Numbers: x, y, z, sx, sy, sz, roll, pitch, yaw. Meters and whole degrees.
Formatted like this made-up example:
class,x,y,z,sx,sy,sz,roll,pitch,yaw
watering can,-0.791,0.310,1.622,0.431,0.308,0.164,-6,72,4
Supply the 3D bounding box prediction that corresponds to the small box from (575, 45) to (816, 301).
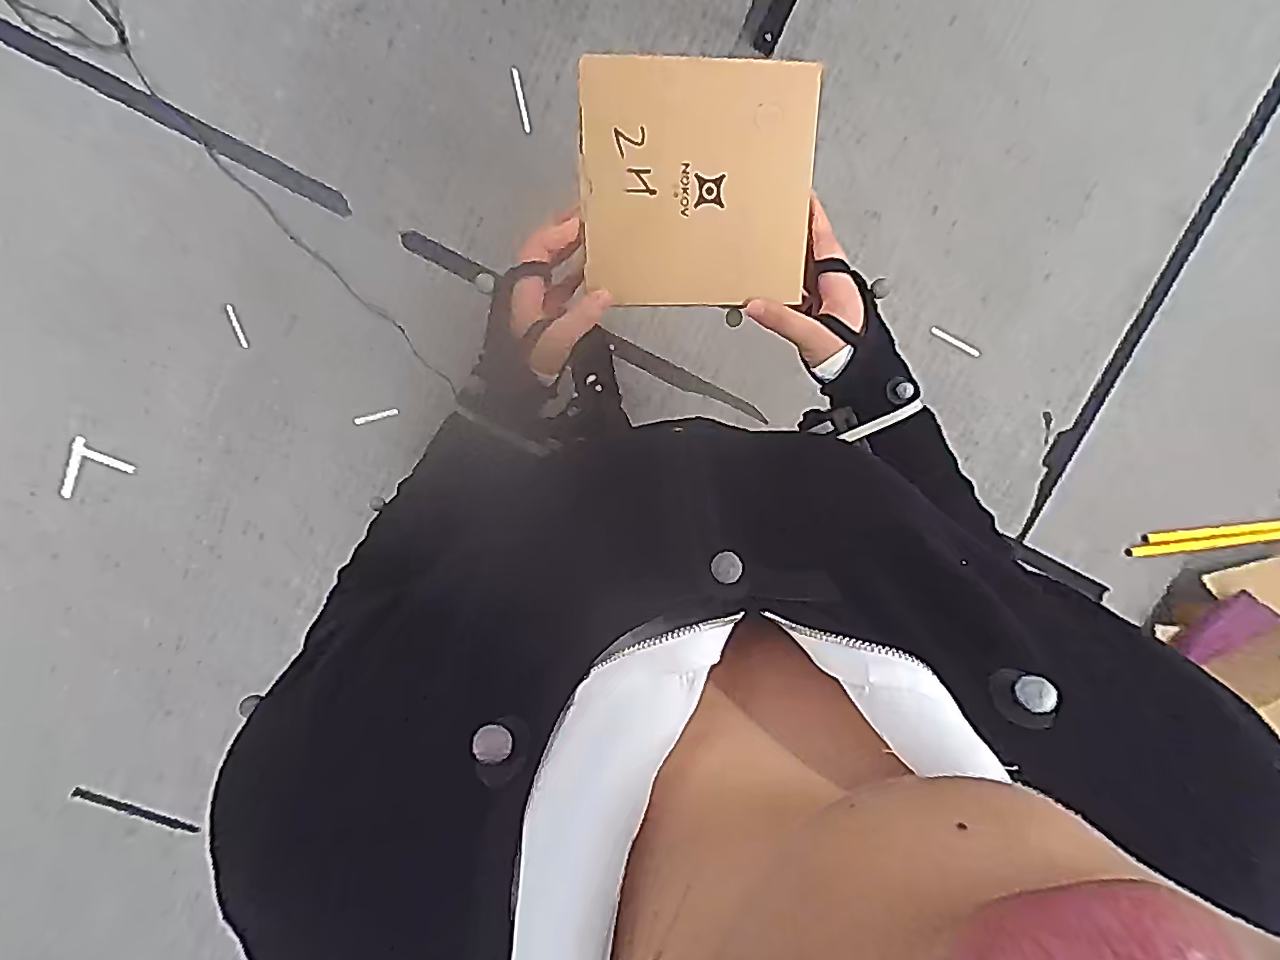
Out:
class,x,y,z,sx,sy,sz,roll,pitch,yaw
small box,0.033,-0.248,0.479,0.179,0.176,0.168,-1,108,-4
